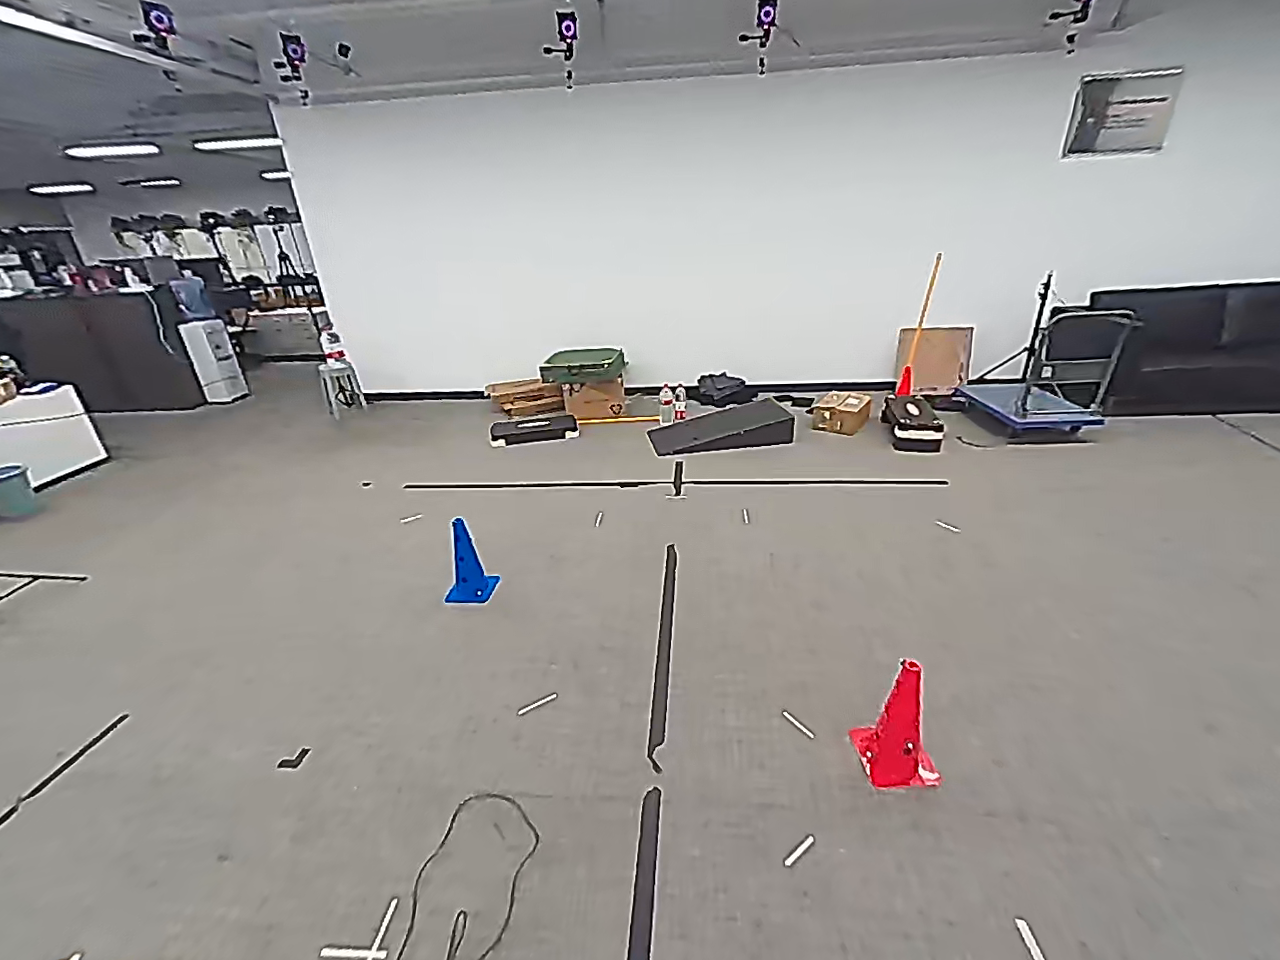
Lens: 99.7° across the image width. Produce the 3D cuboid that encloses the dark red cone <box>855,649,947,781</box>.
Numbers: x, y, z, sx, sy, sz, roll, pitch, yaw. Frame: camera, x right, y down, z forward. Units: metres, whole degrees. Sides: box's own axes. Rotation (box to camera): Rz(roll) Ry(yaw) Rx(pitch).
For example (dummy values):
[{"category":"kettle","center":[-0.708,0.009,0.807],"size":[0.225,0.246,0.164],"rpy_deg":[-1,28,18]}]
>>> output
[{"category":"dark red cone","center":[0.740,0.628,1.498],"size":[0.201,0.394,0.202],"rpy_deg":[-4,25,-1]}]

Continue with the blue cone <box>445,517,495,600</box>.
[{"category":"blue cone","center":[-0.768,0.332,2.356],"size":[0.192,0.380,0.193],"rpy_deg":[-1,25,7]}]
